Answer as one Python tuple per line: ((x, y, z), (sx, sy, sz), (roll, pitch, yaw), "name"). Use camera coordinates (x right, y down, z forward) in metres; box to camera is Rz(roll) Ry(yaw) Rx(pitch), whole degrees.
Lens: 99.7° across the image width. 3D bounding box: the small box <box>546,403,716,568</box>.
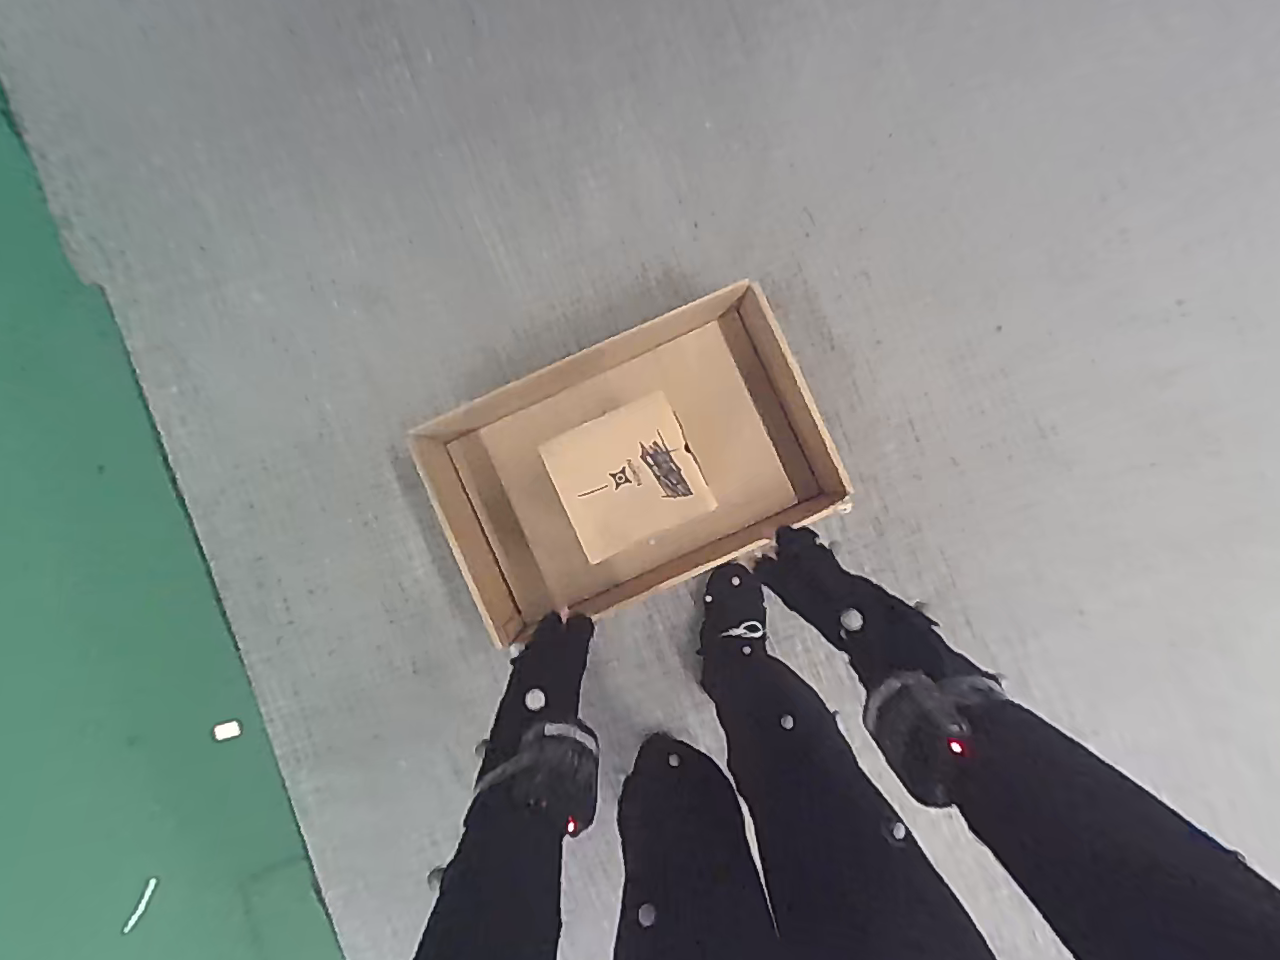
((-0.011, 0.008, 0.770), (0.179, 0.176, 0.168), (-24, 87, 1), "small box")
